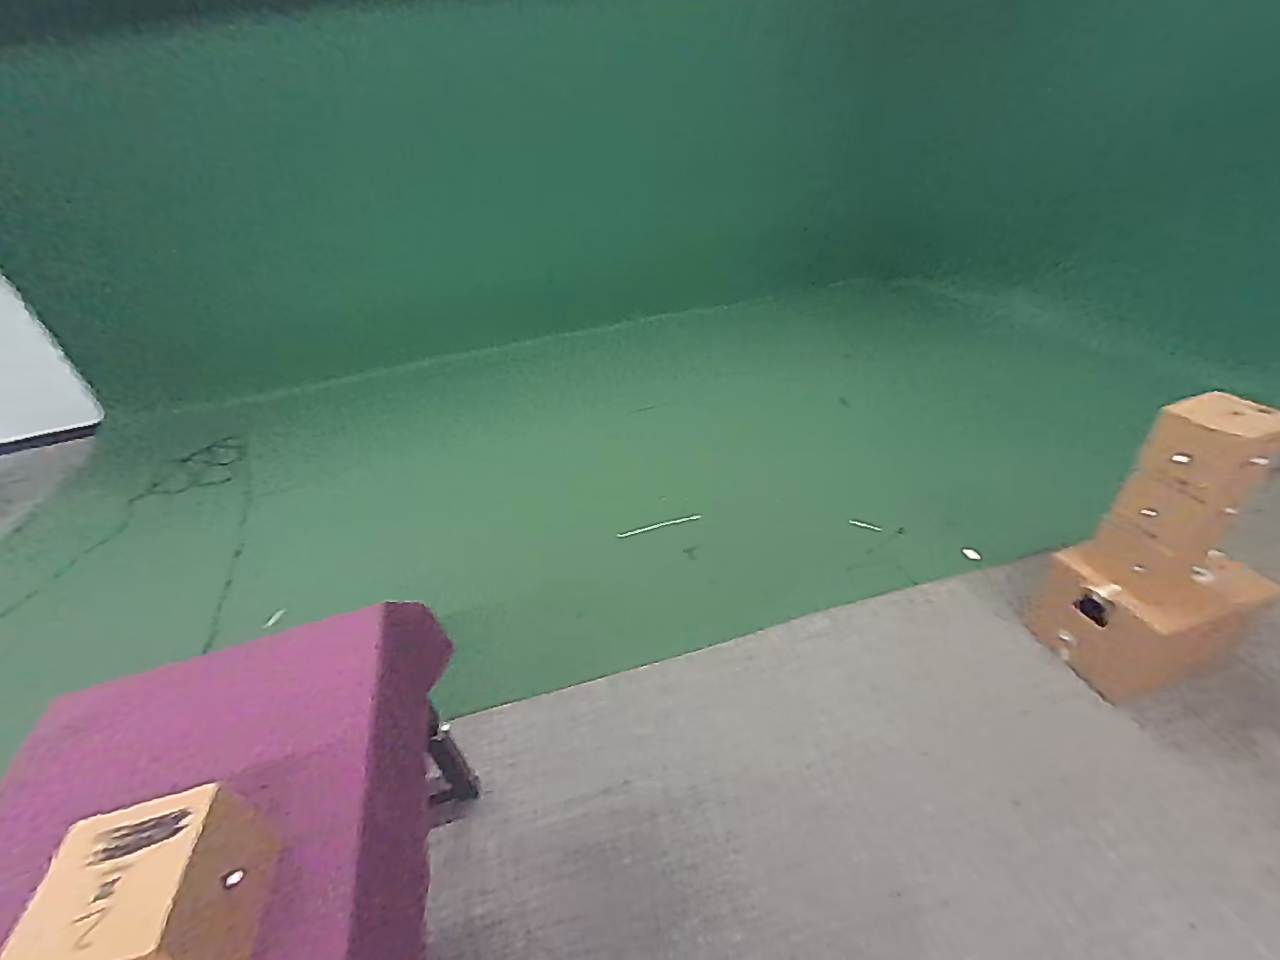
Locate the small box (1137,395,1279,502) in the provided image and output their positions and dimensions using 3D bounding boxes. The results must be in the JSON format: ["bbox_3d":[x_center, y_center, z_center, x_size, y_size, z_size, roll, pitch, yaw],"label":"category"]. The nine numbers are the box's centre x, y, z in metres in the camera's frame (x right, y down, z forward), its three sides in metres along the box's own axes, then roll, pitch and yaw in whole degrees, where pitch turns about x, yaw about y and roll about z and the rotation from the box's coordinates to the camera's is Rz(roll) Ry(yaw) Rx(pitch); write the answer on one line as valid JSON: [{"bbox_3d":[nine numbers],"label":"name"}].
[{"bbox_3d":[1.307,-0.072,1.245,0.179,0.176,0.168,-16,37,-12],"label":"small box"}]

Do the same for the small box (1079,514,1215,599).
[{"bbox_3d":[1.334,0.194,1.436,0.168,0.176,0.179,-14,35,-10],"label":"small box"}]

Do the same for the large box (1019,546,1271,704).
[{"bbox_3d":[1.431,0.383,1.575,0.408,0.320,0.320,-13,36,-10],"label":"large box"}]
